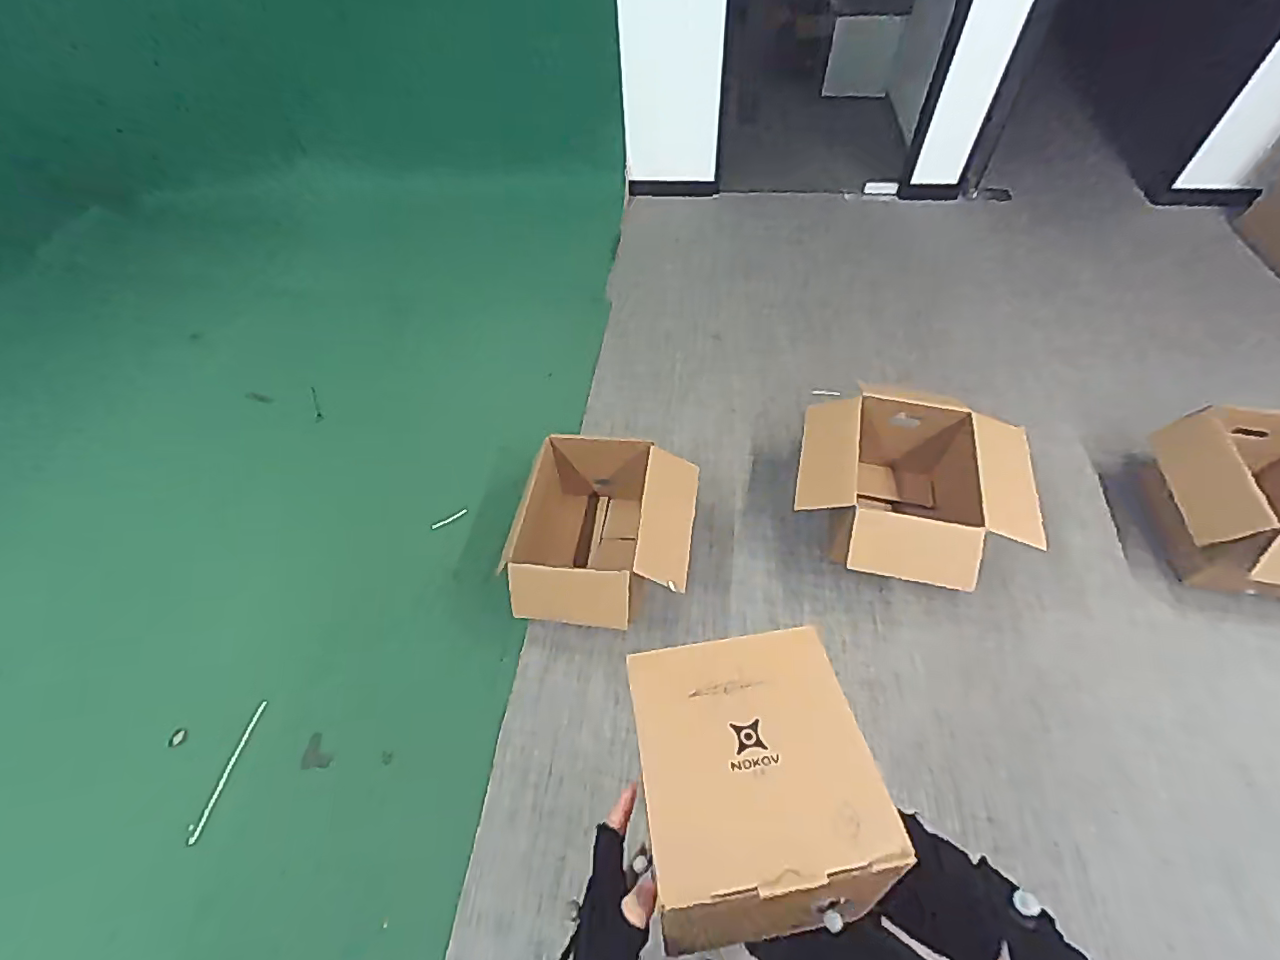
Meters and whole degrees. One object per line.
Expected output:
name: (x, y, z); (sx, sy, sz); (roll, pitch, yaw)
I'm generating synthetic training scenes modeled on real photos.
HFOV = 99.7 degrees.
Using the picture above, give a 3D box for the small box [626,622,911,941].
small box: (0.084, 0.249, 0.447); (0.168, 0.176, 0.179); (-7, 40, -6)
